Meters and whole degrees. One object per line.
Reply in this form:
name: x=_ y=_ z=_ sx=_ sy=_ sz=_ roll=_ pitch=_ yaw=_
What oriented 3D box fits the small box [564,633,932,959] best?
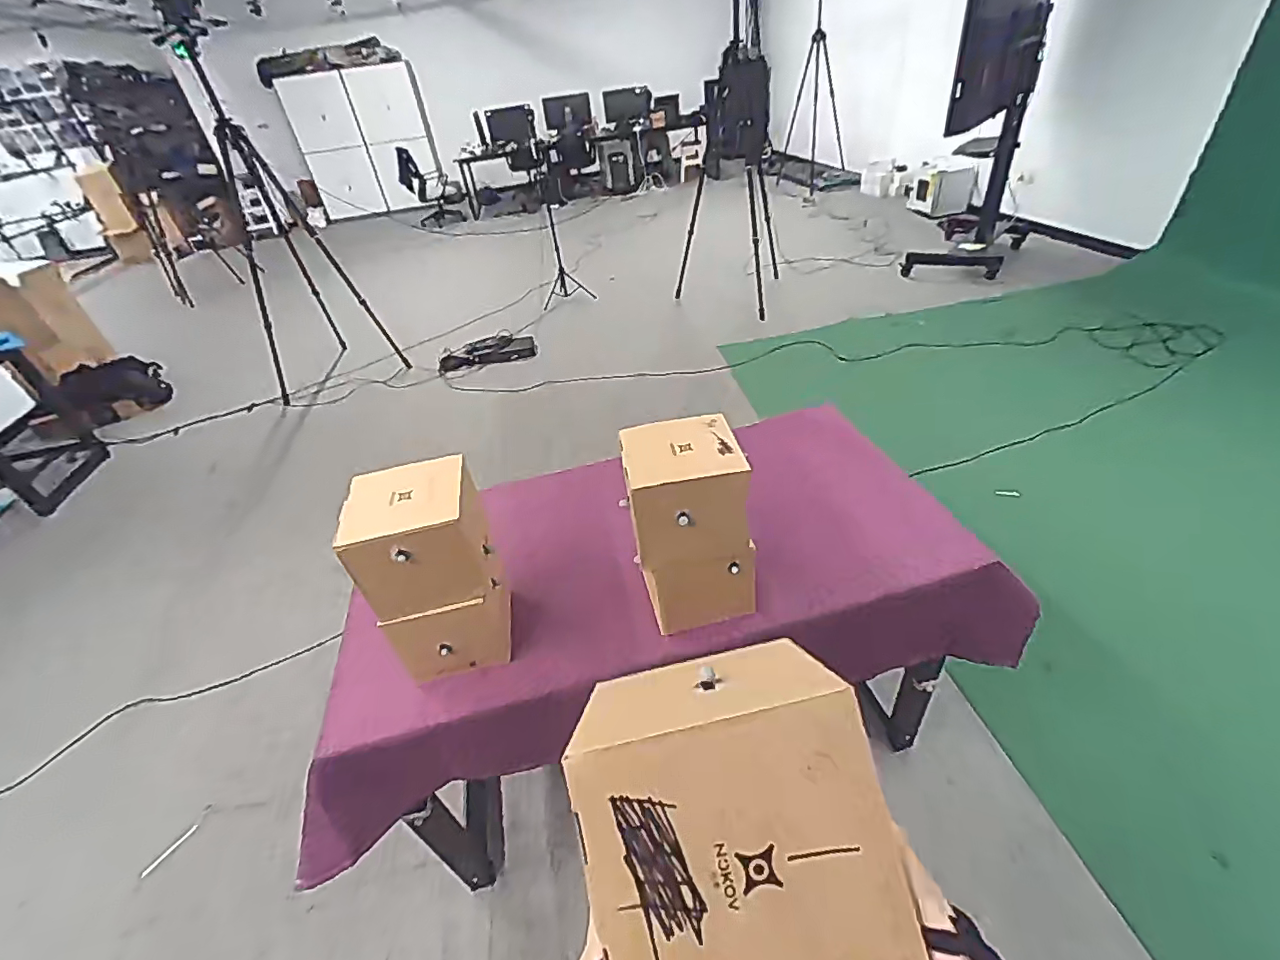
small box: x=0.061 y=0.219 z=0.380 sx=0.179 sy=0.168 sz=0.176 roll=-14 pitch=-6 yaw=0

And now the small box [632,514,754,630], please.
small box: x=0.095 y=0.140 z=0.962 sx=0.179 sy=0.176 sz=0.168 roll=-13 pitch=38 yaw=-6

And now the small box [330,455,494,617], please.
small box: x=-0.340 y=0.089 z=0.844 sx=0.179 sy=0.176 sz=0.168 roll=-13 pitch=39 yaw=-6

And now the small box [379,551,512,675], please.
small box: x=-0.325 y=0.218 z=0.943 sx=0.168 sy=0.176 sz=0.179 roll=-12 pitch=38 yaw=-5

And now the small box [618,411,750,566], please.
small box: x=0.070 y=0.015 z=0.858 sx=0.179 sy=0.176 sz=0.168 roll=-11 pitch=38 yaw=-2
